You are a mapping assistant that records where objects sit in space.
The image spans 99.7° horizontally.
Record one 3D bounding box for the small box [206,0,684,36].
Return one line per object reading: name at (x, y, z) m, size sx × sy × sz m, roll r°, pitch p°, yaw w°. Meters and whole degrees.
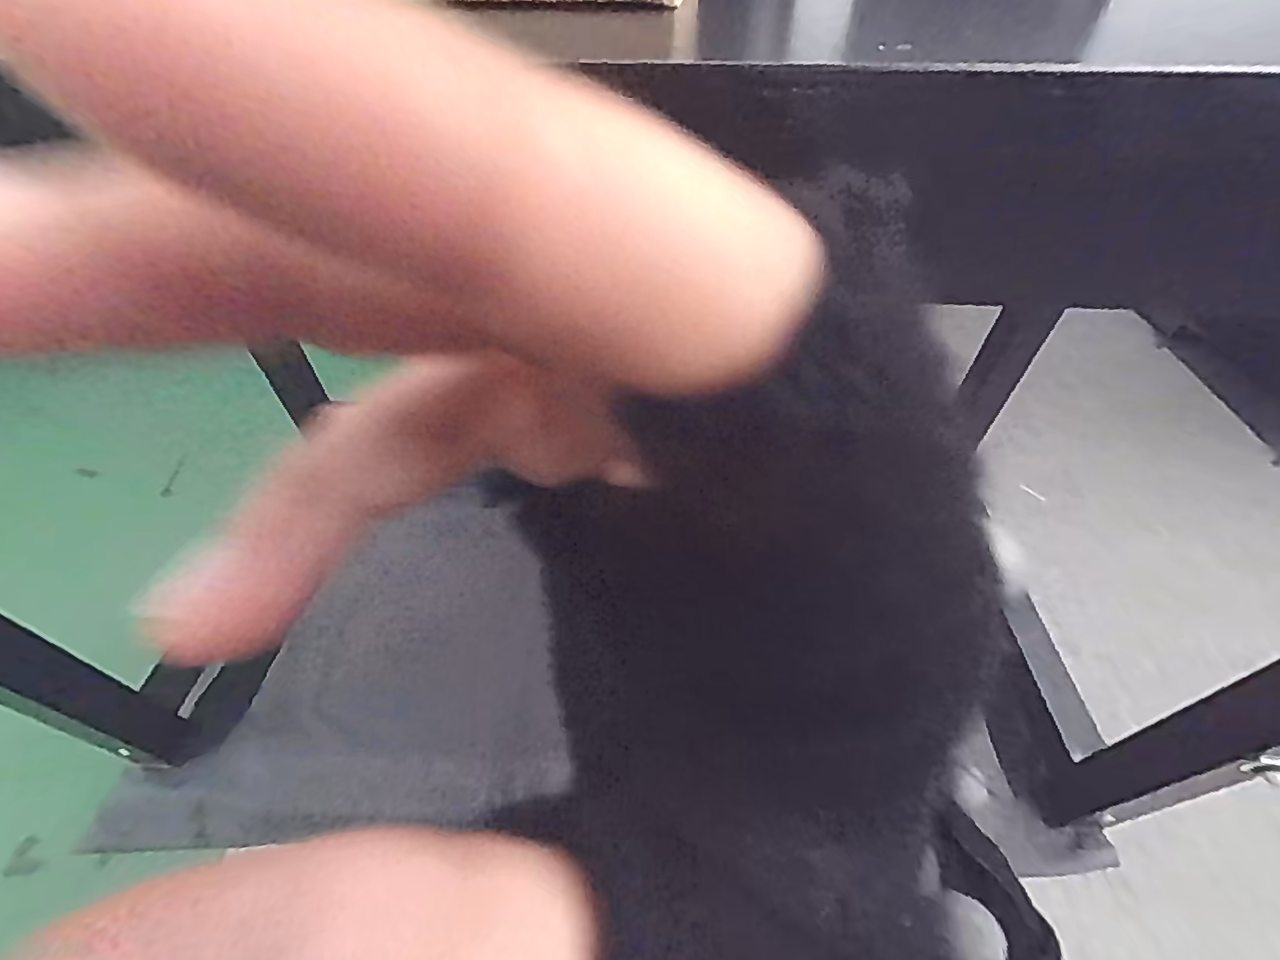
small box at (-0.068, -0.270, 0.185) m, size 0.179 × 0.176 × 0.168 m, roll 5°, pitch 48°, yaw 5°
